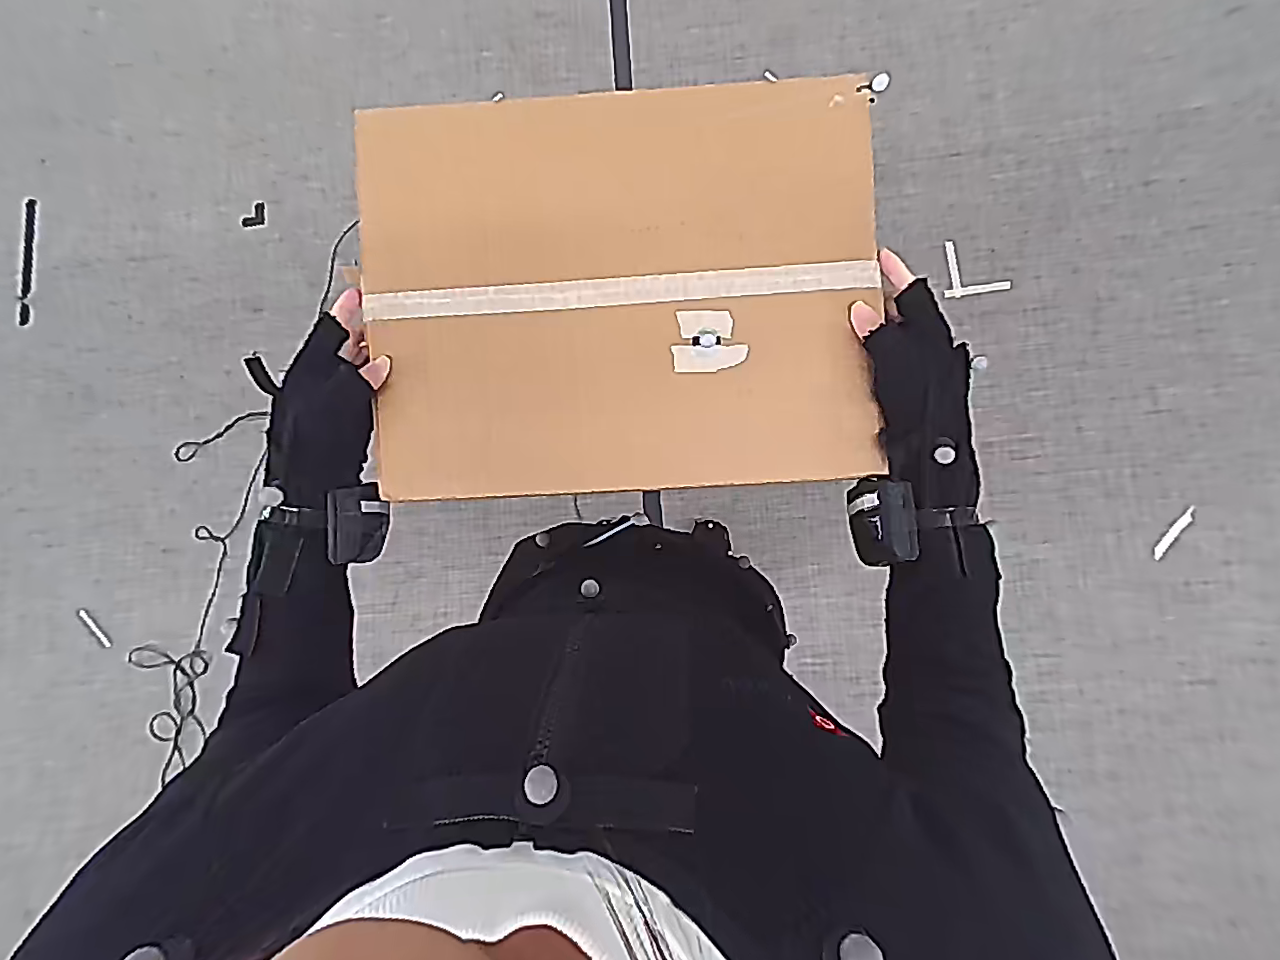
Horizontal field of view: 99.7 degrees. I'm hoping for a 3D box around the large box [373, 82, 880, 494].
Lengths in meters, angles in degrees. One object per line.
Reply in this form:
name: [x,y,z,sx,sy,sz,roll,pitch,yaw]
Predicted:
large box: [-0.011,-0.157,0.588,0.408,0.320,0.320,-3,92,1]
